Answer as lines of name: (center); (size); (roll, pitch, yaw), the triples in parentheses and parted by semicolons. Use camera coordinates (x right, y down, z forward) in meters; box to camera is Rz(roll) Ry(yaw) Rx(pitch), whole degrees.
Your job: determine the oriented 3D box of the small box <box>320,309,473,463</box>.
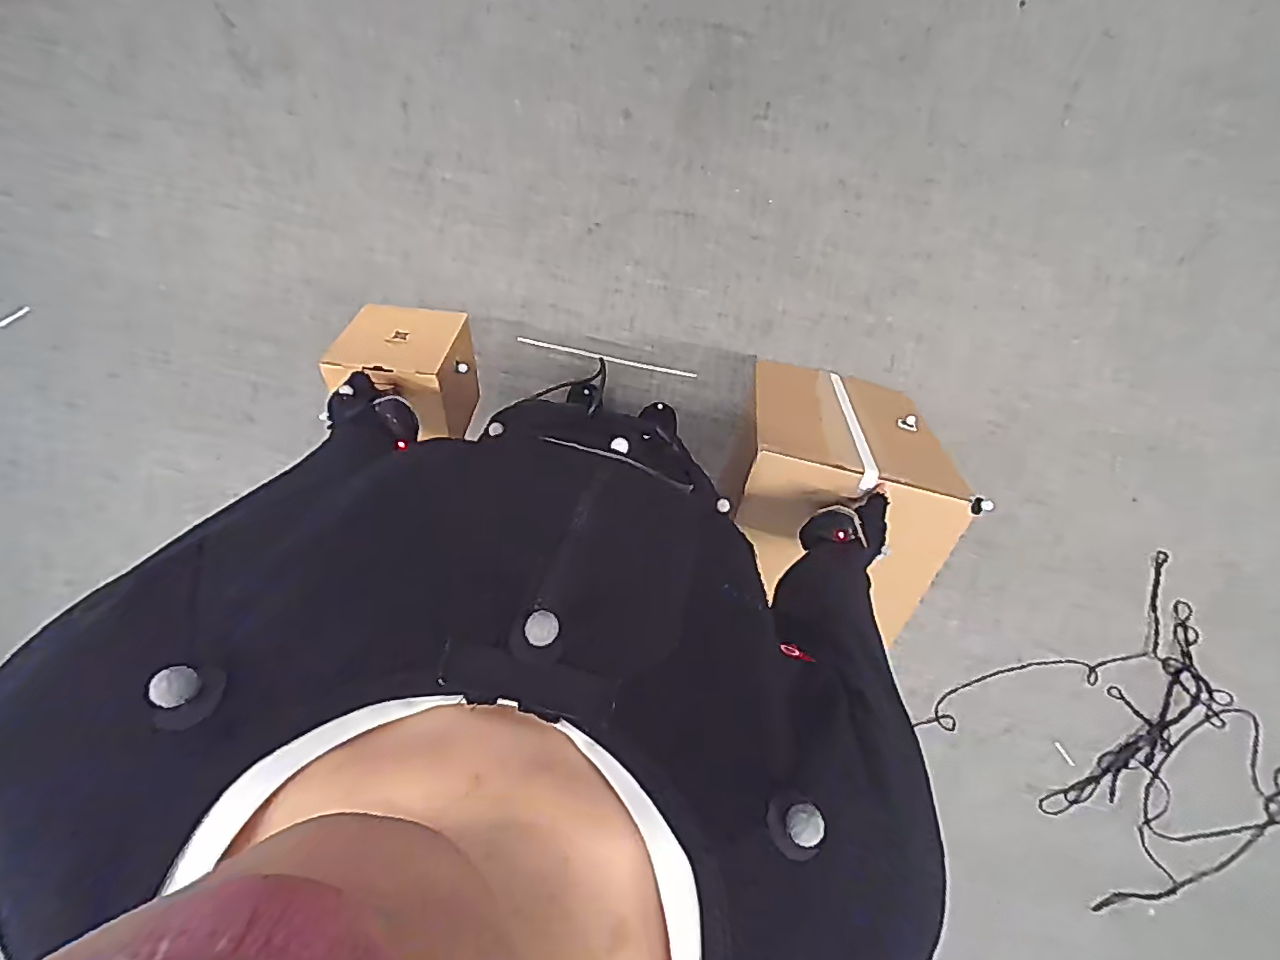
small box: (-0.376, -0.152, 0.878); (0.168, 0.179, 0.176); (5, 135, -3)
